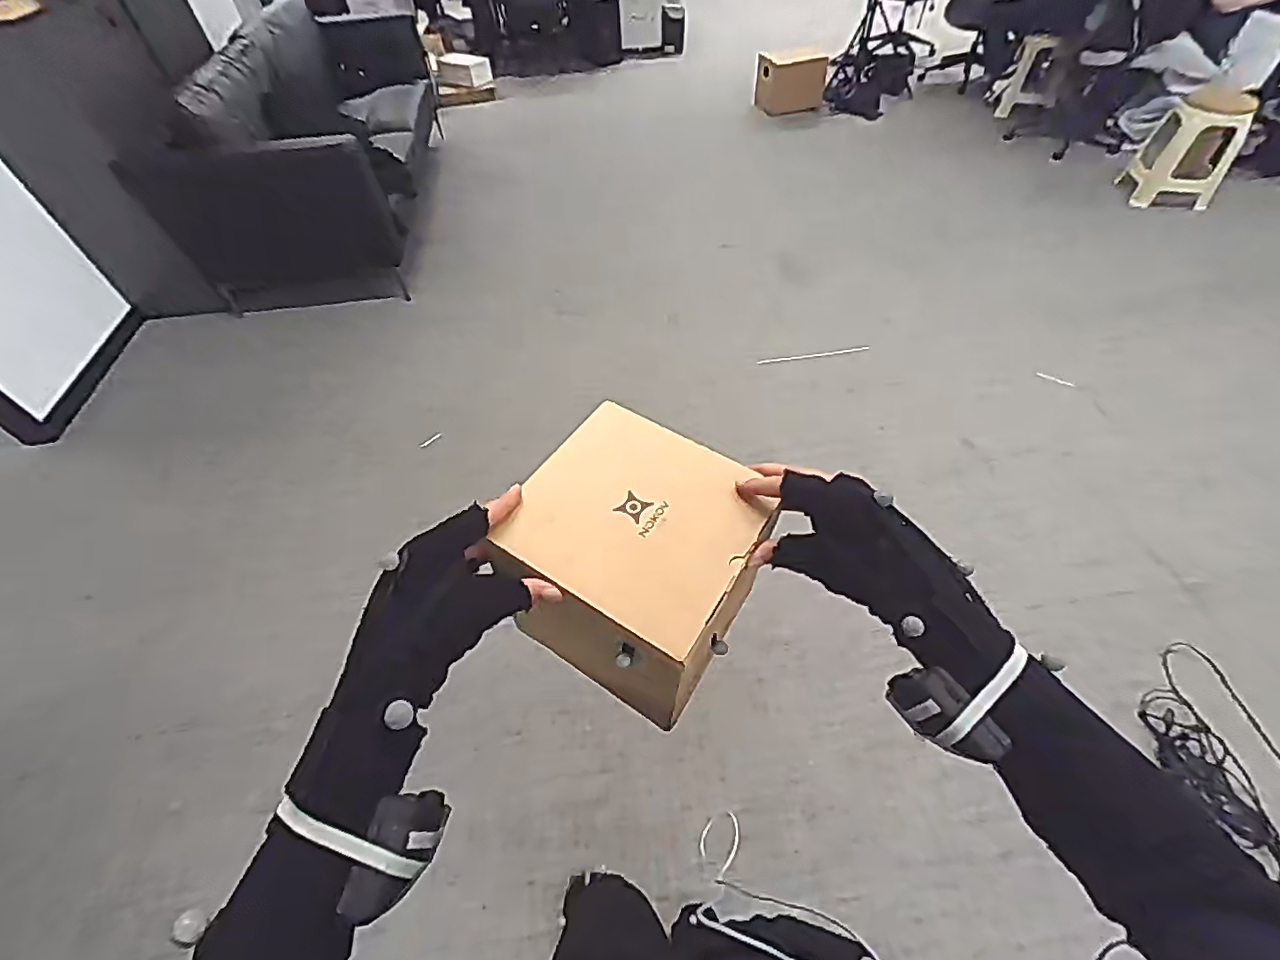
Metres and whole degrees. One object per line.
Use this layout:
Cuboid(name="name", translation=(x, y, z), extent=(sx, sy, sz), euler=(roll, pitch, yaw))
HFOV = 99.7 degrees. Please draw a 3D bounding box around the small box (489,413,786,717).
Cuboid(name="small box", translation=(-0.002, 0.078, 0.478), extent=(0.179, 0.176, 0.168), euler=(29, 56, 18))
